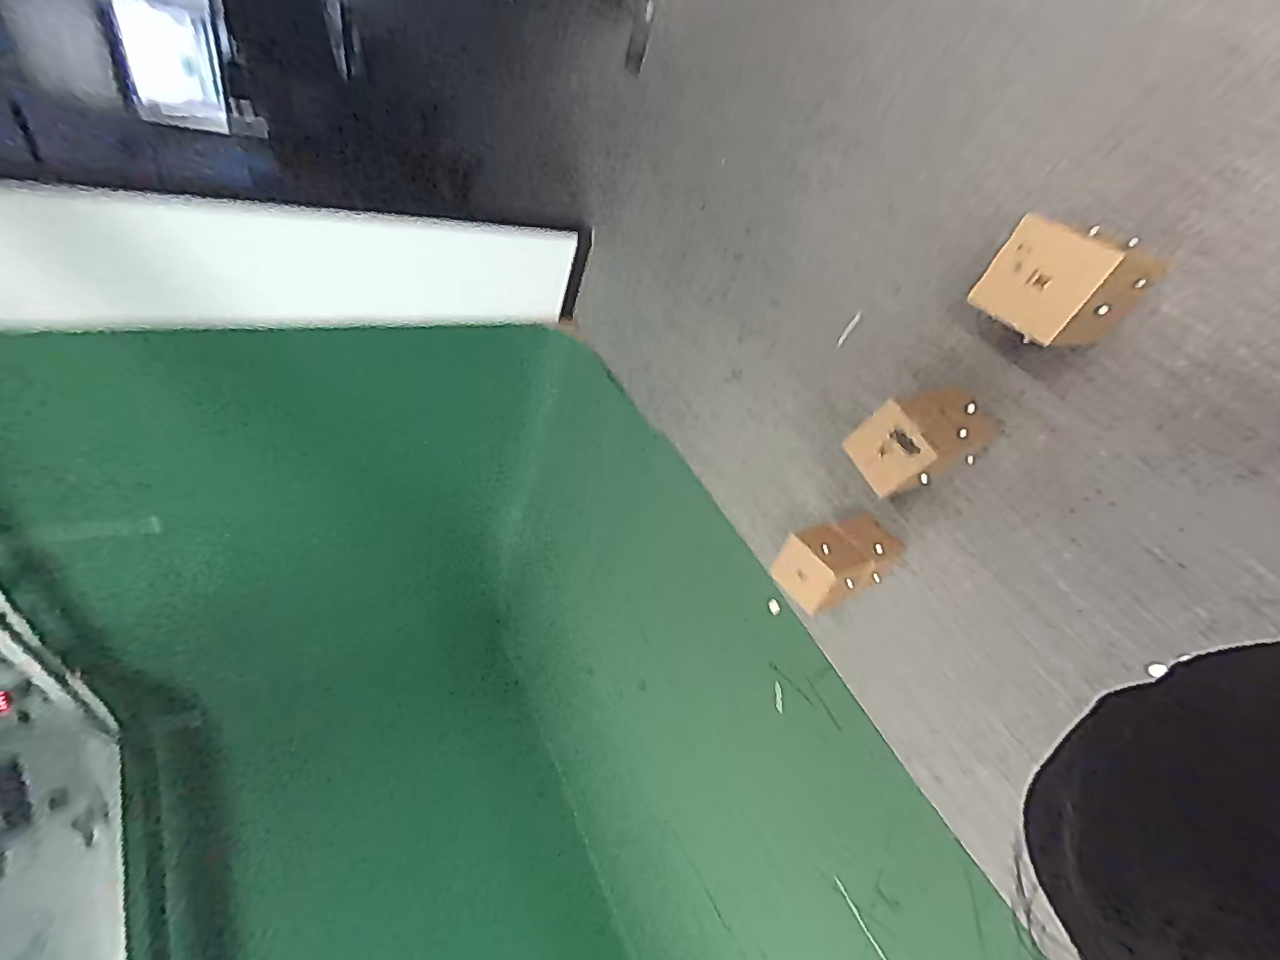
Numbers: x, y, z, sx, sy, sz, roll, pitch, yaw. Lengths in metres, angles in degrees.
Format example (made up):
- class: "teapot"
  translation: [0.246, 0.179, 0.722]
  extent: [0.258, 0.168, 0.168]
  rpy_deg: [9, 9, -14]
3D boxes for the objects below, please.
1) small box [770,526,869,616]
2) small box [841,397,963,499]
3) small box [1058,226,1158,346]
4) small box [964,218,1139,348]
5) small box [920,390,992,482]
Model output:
- class: "small box"
  translation: [0.515, 0.252, 1.547]
  extent: [0.179, 0.176, 0.168]
  rpy_deg: [49, 136, 37]
- class: "small box"
  translation: [0.627, -0.081, 1.285]
  extent: [0.168, 0.176, 0.179]
  rpy_deg: [62, 144, 23]
- class: "small box"
  translation: [0.895, -0.392, 1.106]
  extent: [0.168, 0.176, 0.179]
  rpy_deg: [52, 137, 33]
- class: "small box"
  translation: [0.765, -0.364, 1.007]
  extent: [0.179, 0.176, 0.168]
  rpy_deg: [53, 137, 33]
- class: "small box"
  translation: [0.757, -0.115, 1.381]
  extent: [0.168, 0.176, 0.179]
  rpy_deg: [62, 142, 24]
